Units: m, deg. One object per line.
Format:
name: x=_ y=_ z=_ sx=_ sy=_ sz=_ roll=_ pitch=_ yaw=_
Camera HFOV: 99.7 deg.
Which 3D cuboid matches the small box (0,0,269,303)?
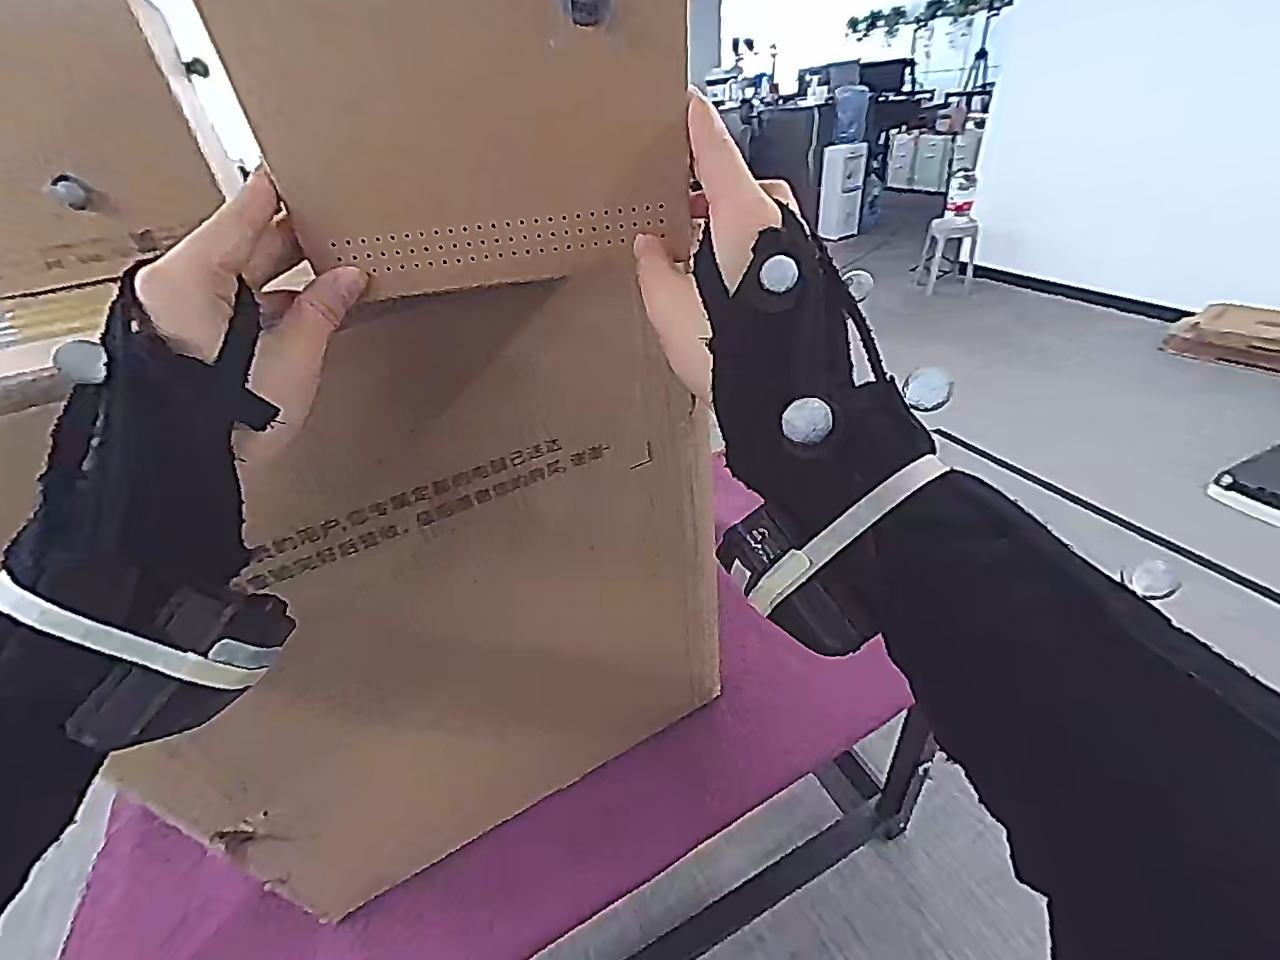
small box: x=-0.424 y=-0.252 z=0.427 sx=0.168 sy=0.176 sz=0.179 roll=-22 pitch=38 yaw=-19
